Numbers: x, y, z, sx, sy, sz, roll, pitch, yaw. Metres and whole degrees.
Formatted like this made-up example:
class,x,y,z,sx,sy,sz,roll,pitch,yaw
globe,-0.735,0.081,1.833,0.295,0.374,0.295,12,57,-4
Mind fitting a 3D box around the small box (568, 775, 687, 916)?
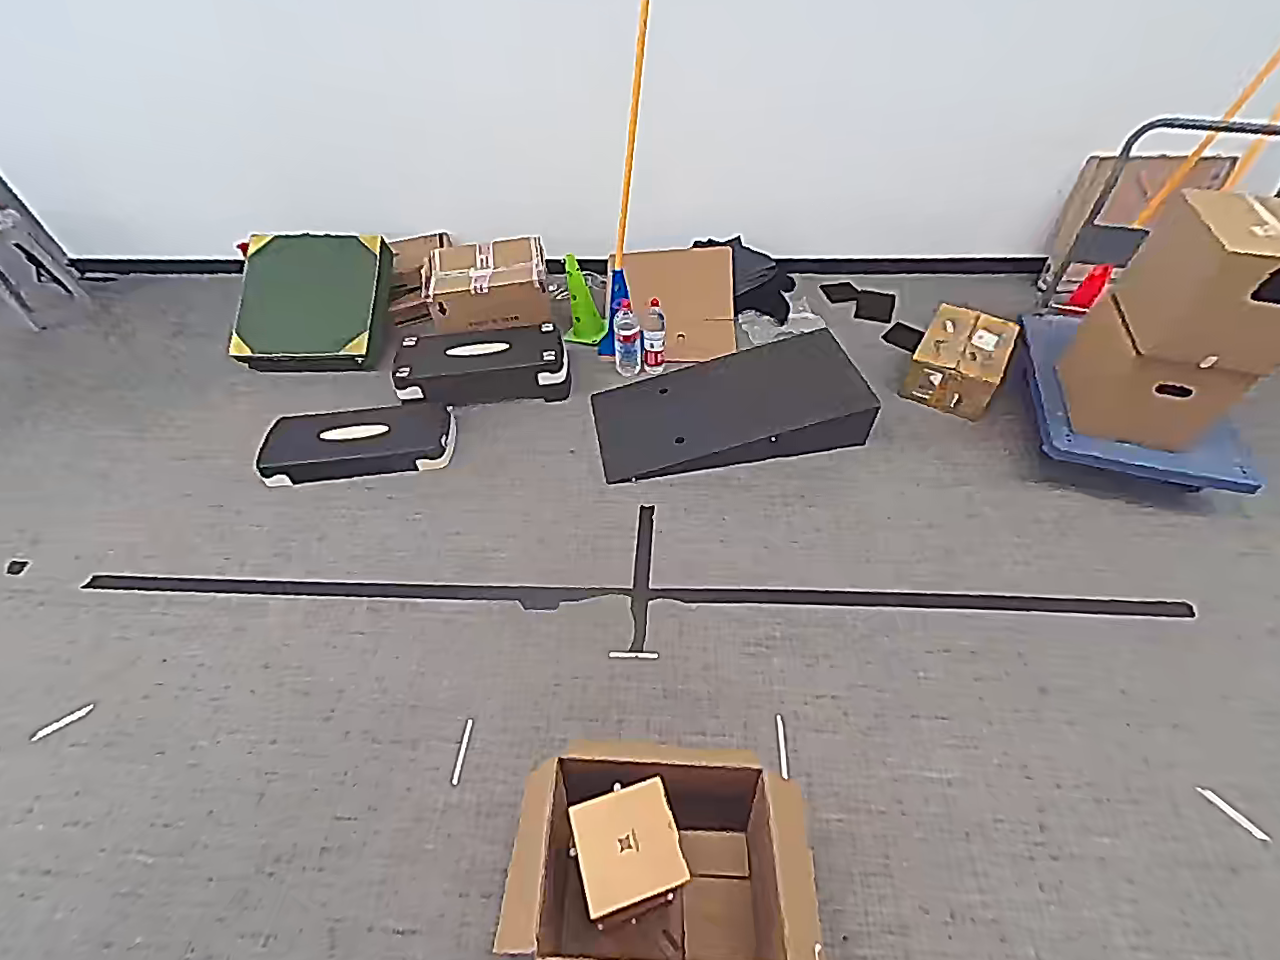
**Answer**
class,x,y,z,sx,sy,sz,roll,pitch,yaw
small box,-0.026,0.678,1.000,0.179,0.176,0.168,-12,52,-14
